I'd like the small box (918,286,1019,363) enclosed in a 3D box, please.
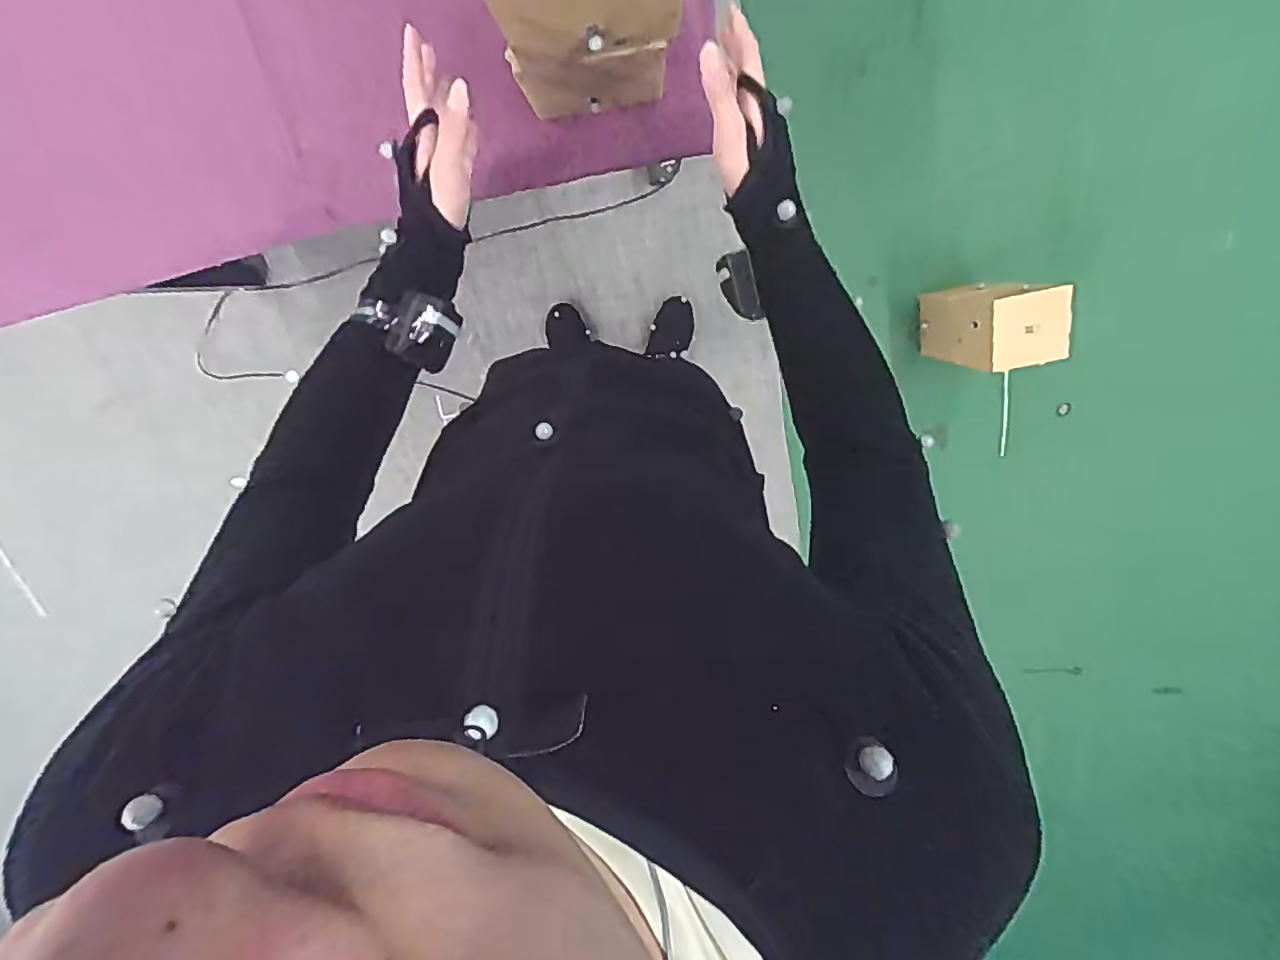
[{"bbox_3d":[0.872,-0.422,1.449,0.179,0.176,0.168,-11,109,4],"label":"small box"}]

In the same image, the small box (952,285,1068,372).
[{"bbox_3d":[0.877,-0.364,1.299,0.179,0.176,0.168,-12,109,2],"label":"small box"}]

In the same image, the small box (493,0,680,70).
[{"bbox_3d":[-0.058,-0.492,0.453,0.168,0.176,0.179,-10,109,4],"label":"small box"}]
